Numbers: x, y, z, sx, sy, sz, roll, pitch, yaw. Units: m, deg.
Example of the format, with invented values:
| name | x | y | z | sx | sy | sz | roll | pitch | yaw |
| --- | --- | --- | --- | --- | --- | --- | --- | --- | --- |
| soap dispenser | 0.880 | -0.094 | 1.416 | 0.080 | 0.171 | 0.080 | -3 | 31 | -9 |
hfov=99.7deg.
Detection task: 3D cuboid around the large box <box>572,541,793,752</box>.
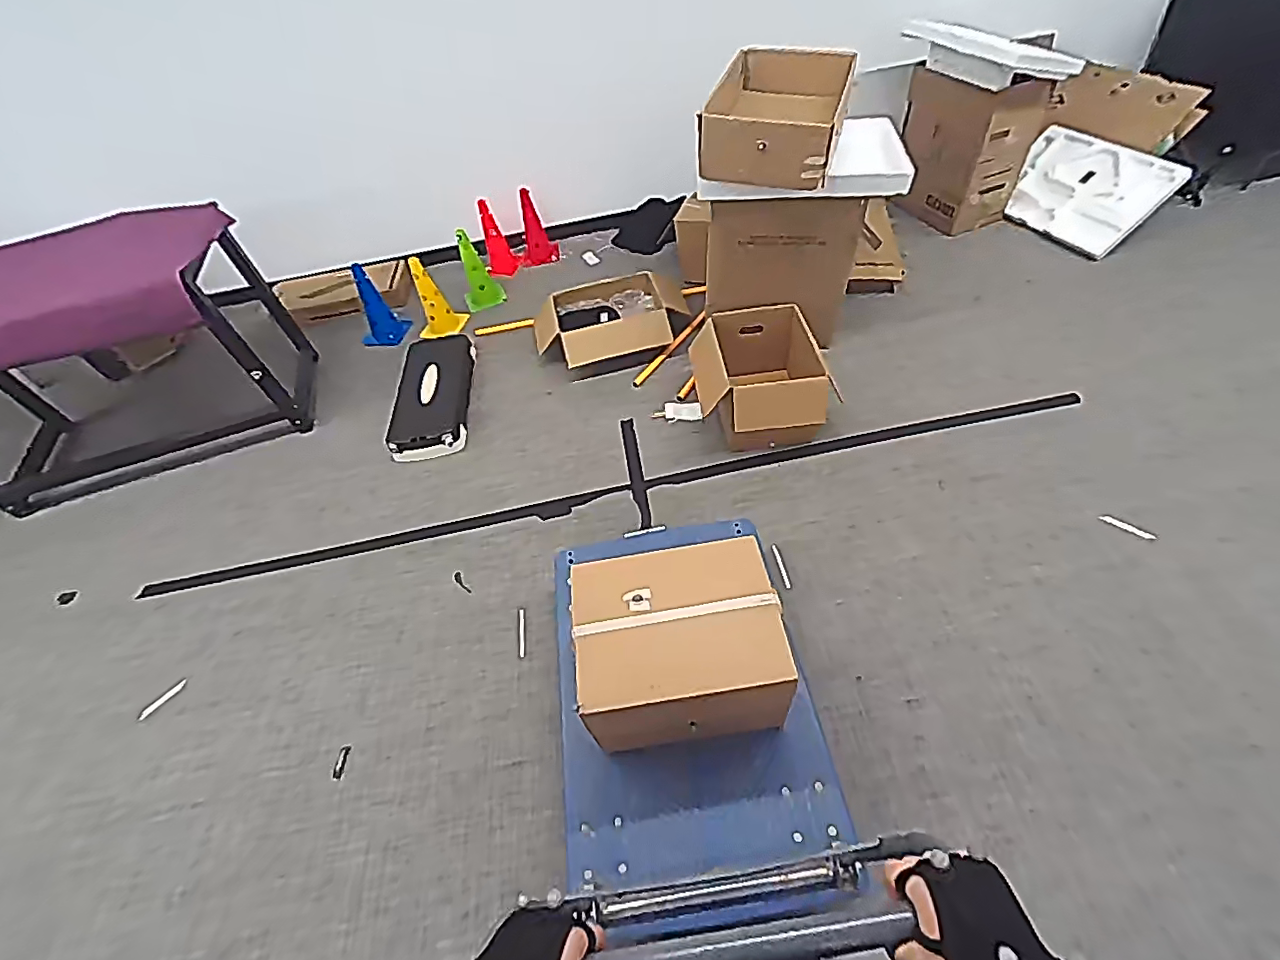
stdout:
| name | x | y | z | sx | sy | sz | roll | pitch | yaw |
| --- | --- | --- | --- | --- | --- | --- | --- | --- | --- |
| large box | 0.087 | 0.376 | 1.200 | 0.408 | 0.320 | 0.320 | -11 | 50 | 1 |
